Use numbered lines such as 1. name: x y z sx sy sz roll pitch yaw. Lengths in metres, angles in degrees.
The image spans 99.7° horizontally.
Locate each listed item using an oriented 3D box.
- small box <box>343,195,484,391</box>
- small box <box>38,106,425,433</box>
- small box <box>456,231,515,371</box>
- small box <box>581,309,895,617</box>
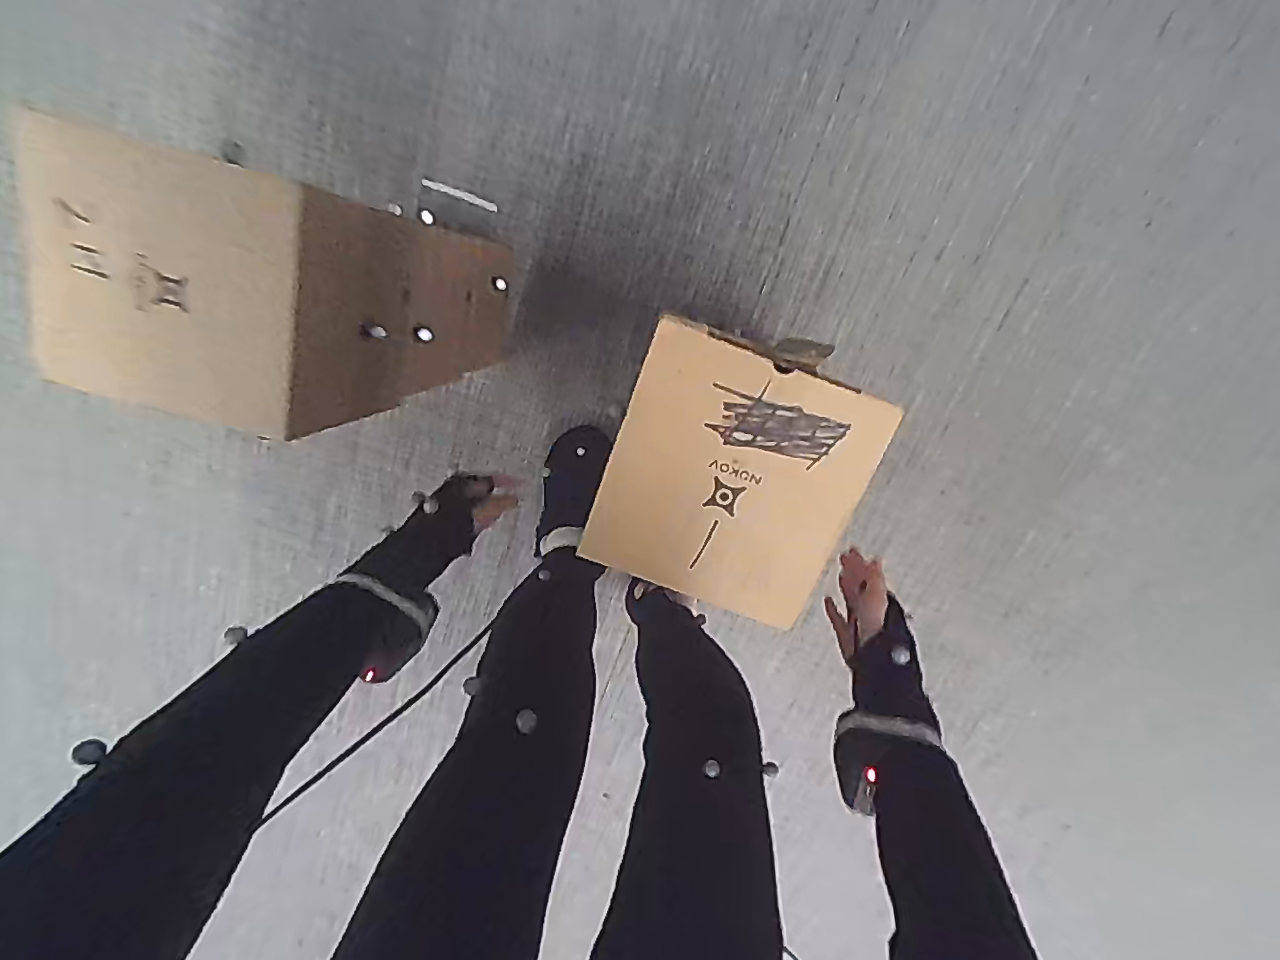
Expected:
1. small box: -0.291 -0.205 0.584 0.179 0.176 0.168 14 107 -1
2. small box: -0.294 -0.151 0.426 0.179 0.176 0.168 16 106 0
3. small box: -0.285 -0.259 0.739 0.179 0.176 0.168 15 107 0
4. small box: 0.066 -0.027 0.445 0.168 0.176 0.179 21 107 -2
